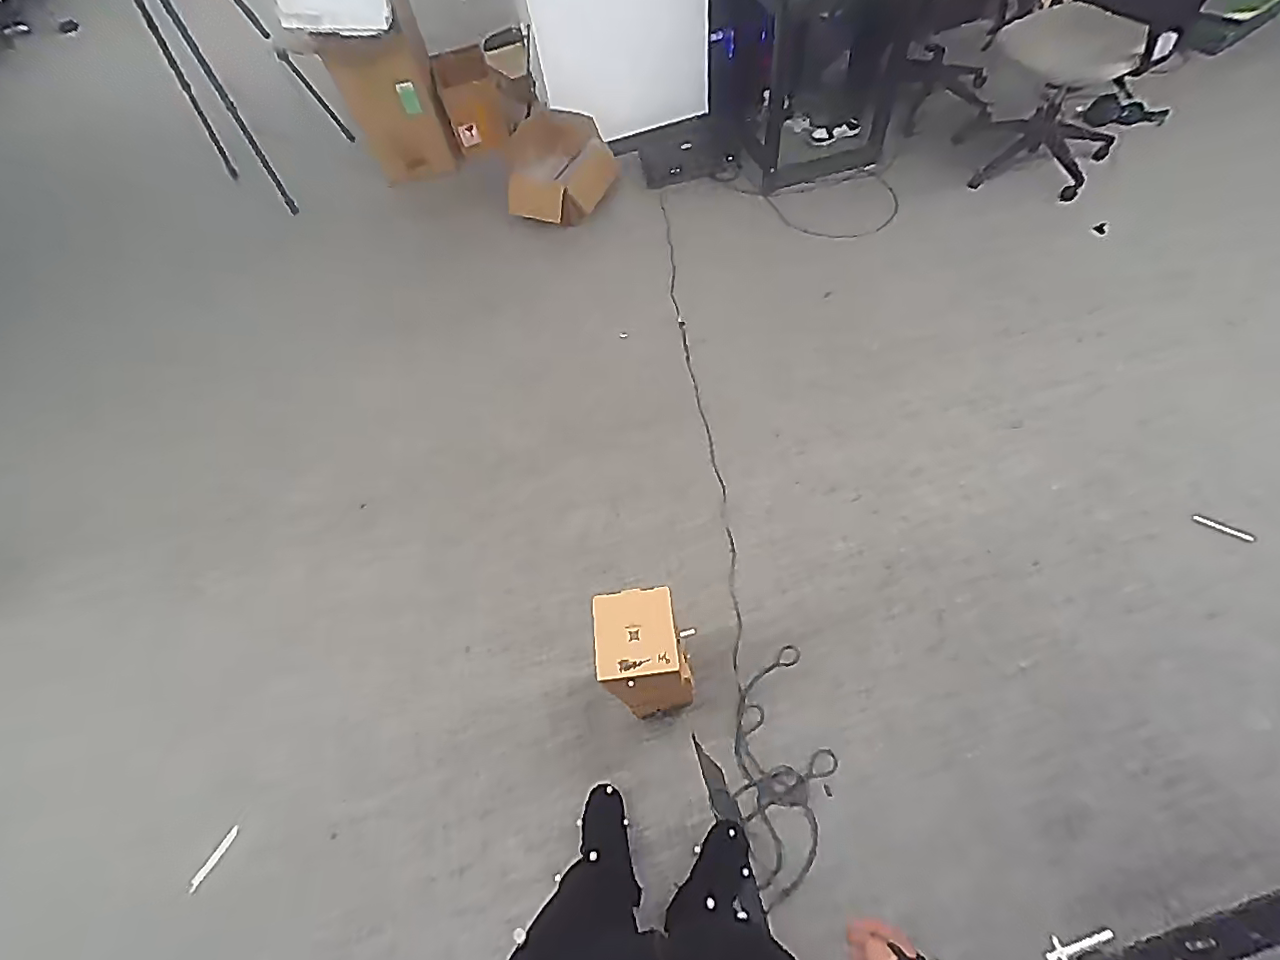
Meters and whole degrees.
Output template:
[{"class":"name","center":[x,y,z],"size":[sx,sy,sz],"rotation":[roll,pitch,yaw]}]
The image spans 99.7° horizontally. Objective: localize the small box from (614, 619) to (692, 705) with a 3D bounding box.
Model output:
[{"class":"small box","center":[0.021,0.430,1.304],"size":[0.179,0.176,0.168],"rotation":[-14,58,-1]}]

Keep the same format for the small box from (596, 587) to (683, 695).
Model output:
[{"class":"small box","center":[0.000,0.349,1.163],"size":[0.168,0.176,0.179],"rotation":[-8,58,3]}]

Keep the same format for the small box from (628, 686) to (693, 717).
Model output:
[{"class":"small box","center":[0.040,0.512,1.442],"size":[0.168,0.176,0.179],"rotation":[-16,59,-1]}]
